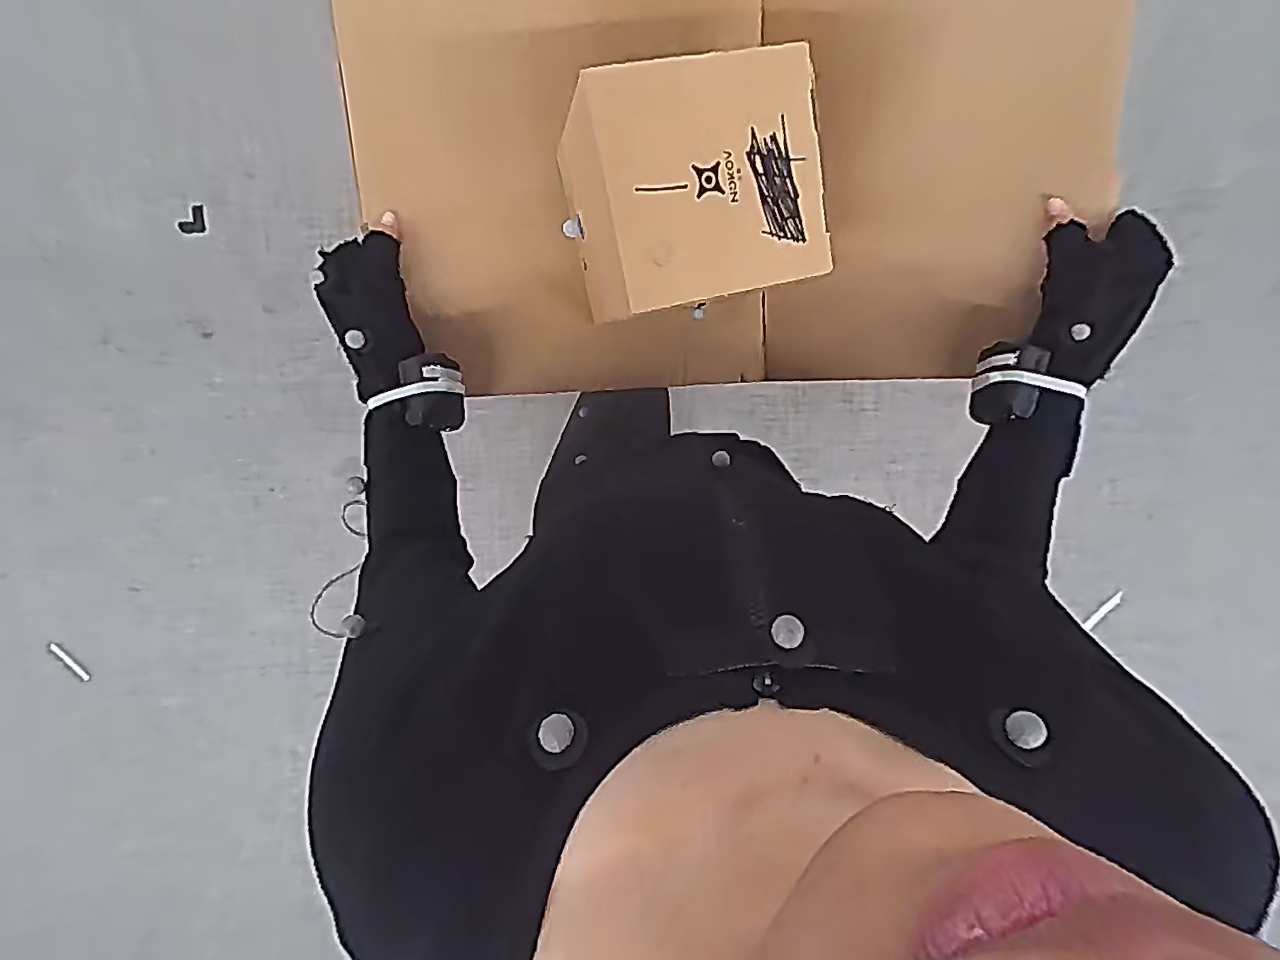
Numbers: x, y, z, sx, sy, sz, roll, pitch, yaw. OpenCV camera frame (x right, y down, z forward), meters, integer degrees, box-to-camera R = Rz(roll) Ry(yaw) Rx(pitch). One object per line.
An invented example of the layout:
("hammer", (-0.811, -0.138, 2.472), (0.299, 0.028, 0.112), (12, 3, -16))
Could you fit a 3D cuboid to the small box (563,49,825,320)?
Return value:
("small box", (0.039, -0.248, 0.491), (0.179, 0.176, 0.168), (-15, 105, -11))
